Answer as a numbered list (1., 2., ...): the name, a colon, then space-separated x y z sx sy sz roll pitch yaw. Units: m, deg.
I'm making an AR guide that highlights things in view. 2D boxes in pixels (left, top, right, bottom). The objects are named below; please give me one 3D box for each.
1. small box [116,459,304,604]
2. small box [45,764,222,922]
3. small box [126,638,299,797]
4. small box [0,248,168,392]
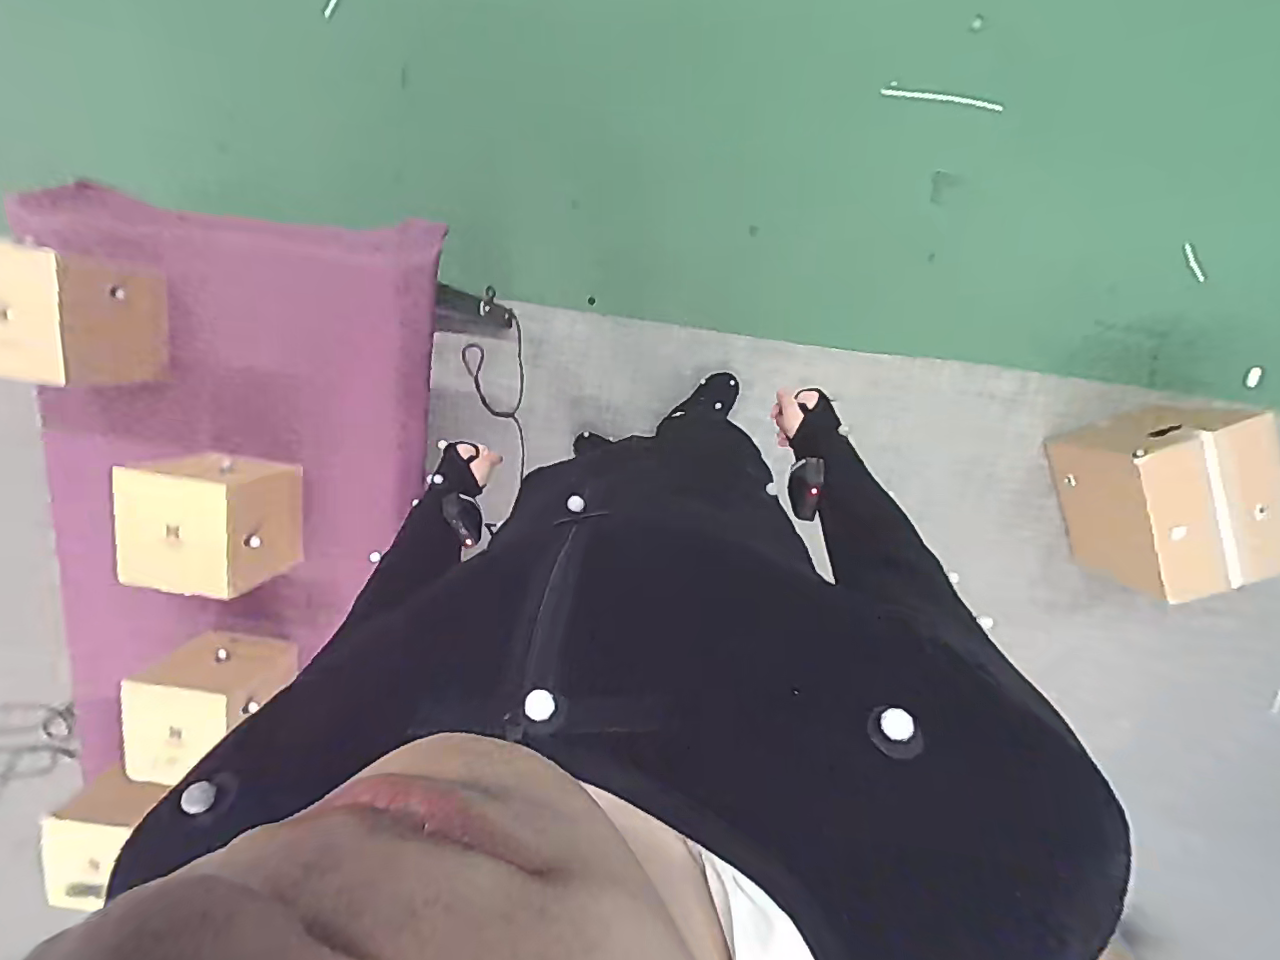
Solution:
1. small box: -0.660 0.070 0.850 0.168 0.176 0.179 8 103 0
2. small box: -0.892 0.633 0.971 0.168 0.176 0.179 7 101 0
3. small box: -0.709 0.390 0.914 0.168 0.176 0.179 8 102 1
4. small box: -0.841 -0.231 0.791 0.168 0.176 0.179 9 103 -1
